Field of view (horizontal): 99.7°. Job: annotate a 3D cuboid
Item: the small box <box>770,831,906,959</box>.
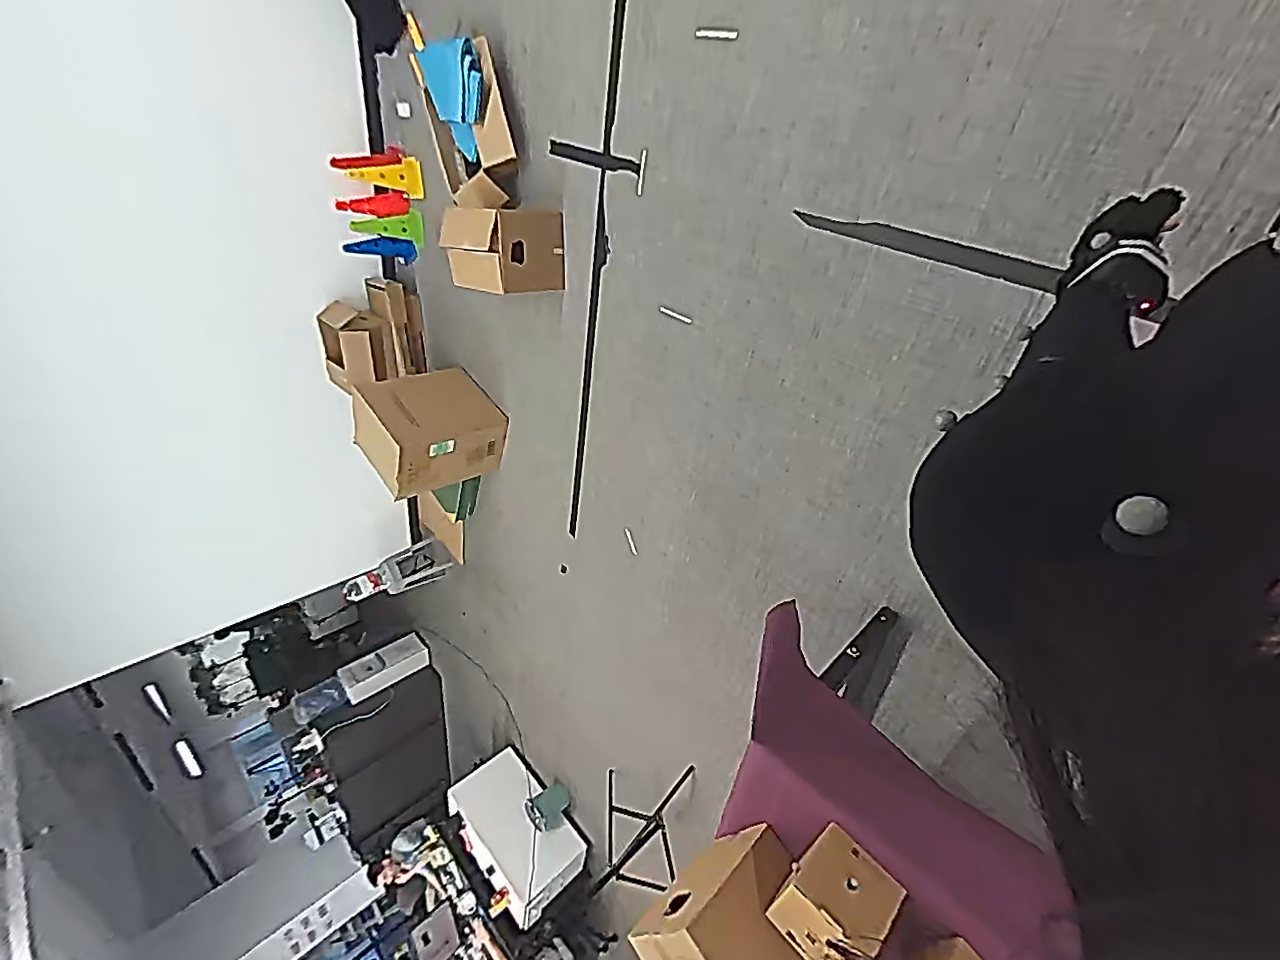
[{"bbox_3d":[0.391,0.843,1.063,0.168,0.176,0.179,37,131,33],"label":"small box"}]
